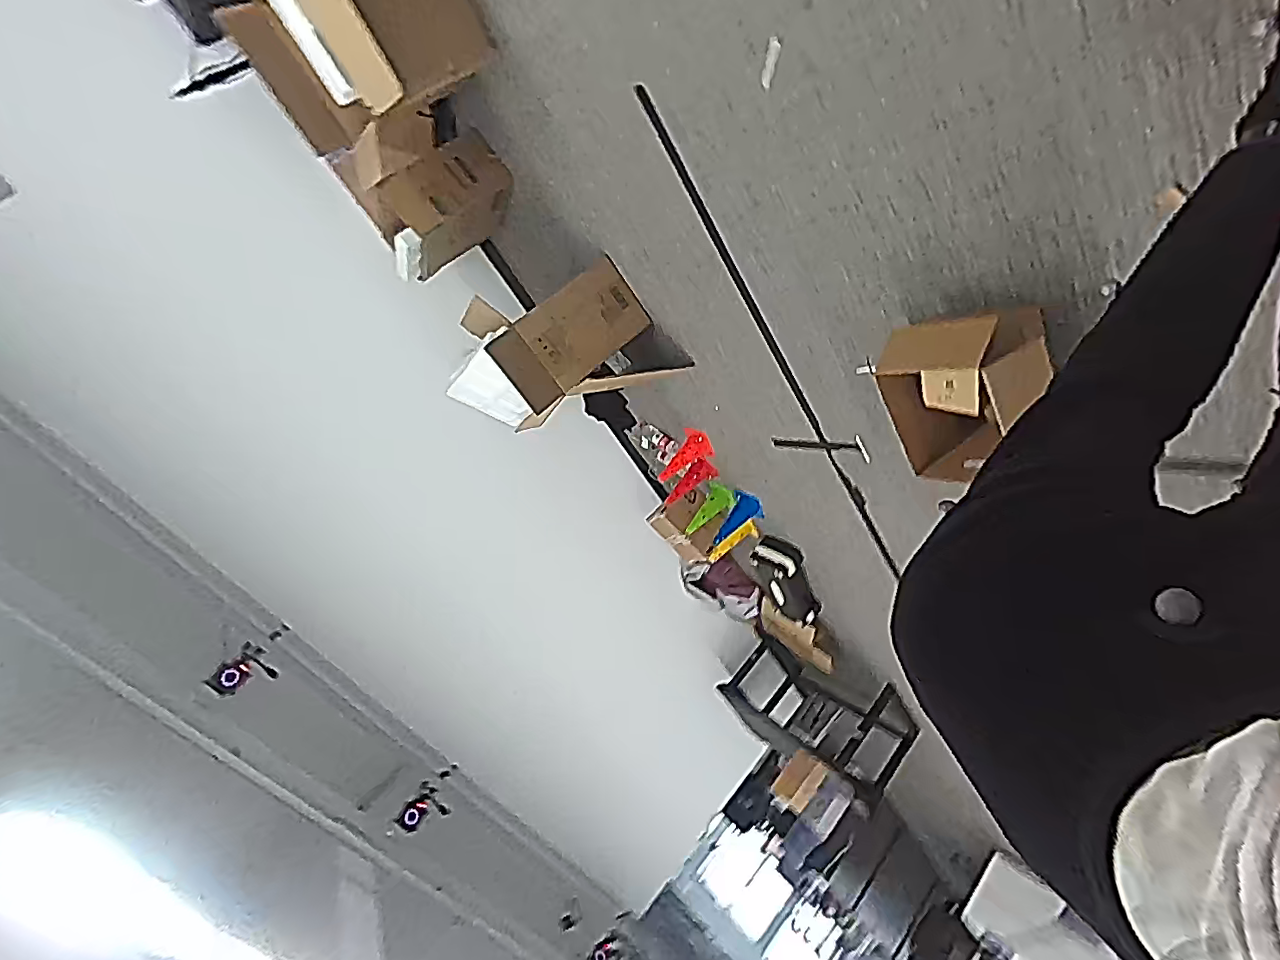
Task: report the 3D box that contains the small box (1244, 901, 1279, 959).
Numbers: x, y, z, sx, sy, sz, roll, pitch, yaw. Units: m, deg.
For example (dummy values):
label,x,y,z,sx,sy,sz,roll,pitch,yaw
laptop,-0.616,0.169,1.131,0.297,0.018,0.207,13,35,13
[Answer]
label,x,y,z,sx,sy,sz,roll,pitch,yaw
small box,1.460,1.060,1.166,0.168,0.176,0.179,54,159,-24
